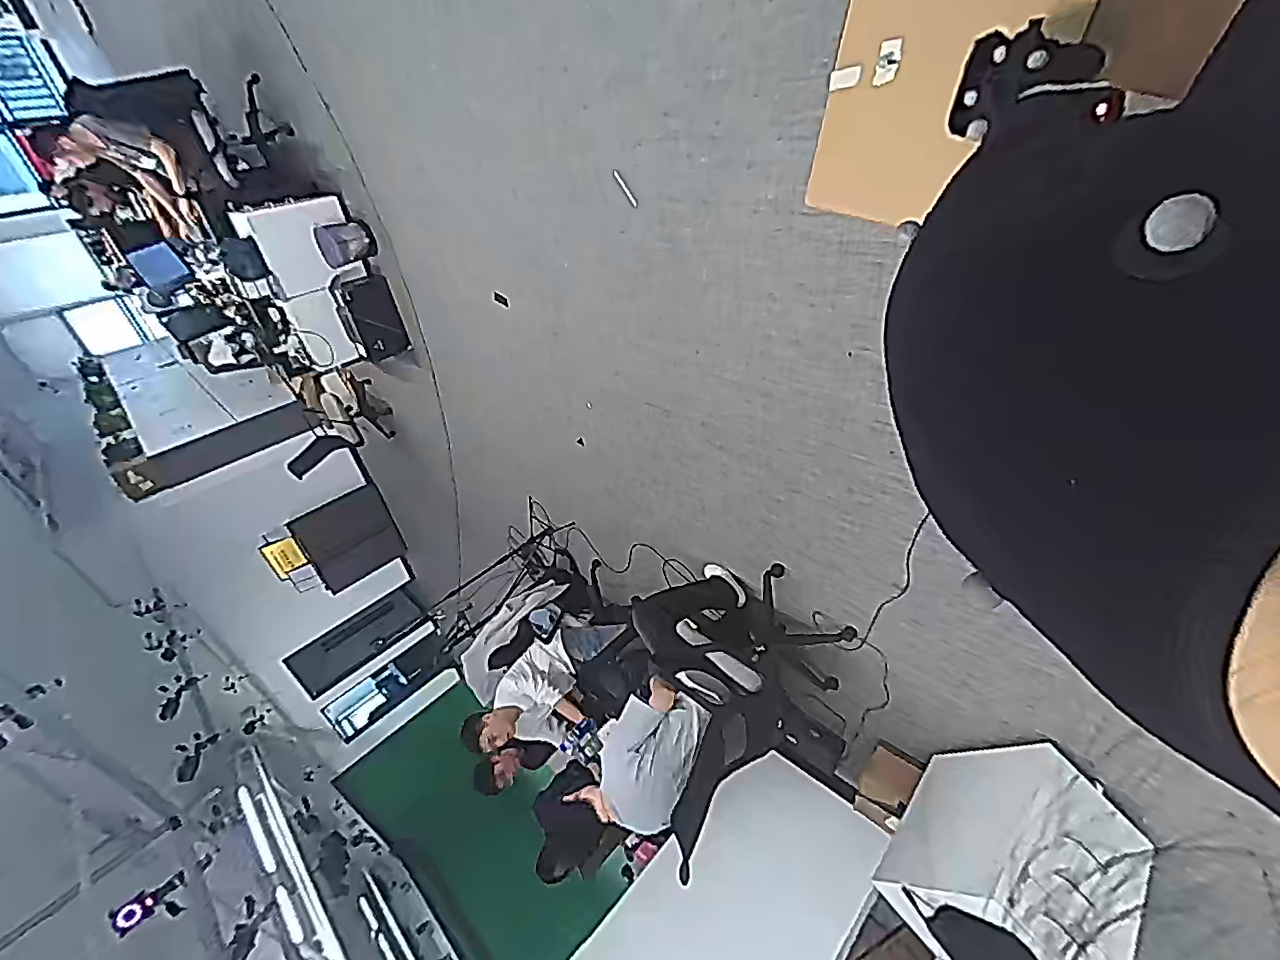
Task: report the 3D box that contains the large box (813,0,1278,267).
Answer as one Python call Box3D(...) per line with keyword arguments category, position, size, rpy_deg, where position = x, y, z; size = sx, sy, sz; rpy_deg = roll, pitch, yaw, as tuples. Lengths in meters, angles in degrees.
Box3D(category="large box", position=(0.517, -0.500, 0.746), size=(0.320, 0.408, 0.320), rpy_deg=(46, 140, 43))
